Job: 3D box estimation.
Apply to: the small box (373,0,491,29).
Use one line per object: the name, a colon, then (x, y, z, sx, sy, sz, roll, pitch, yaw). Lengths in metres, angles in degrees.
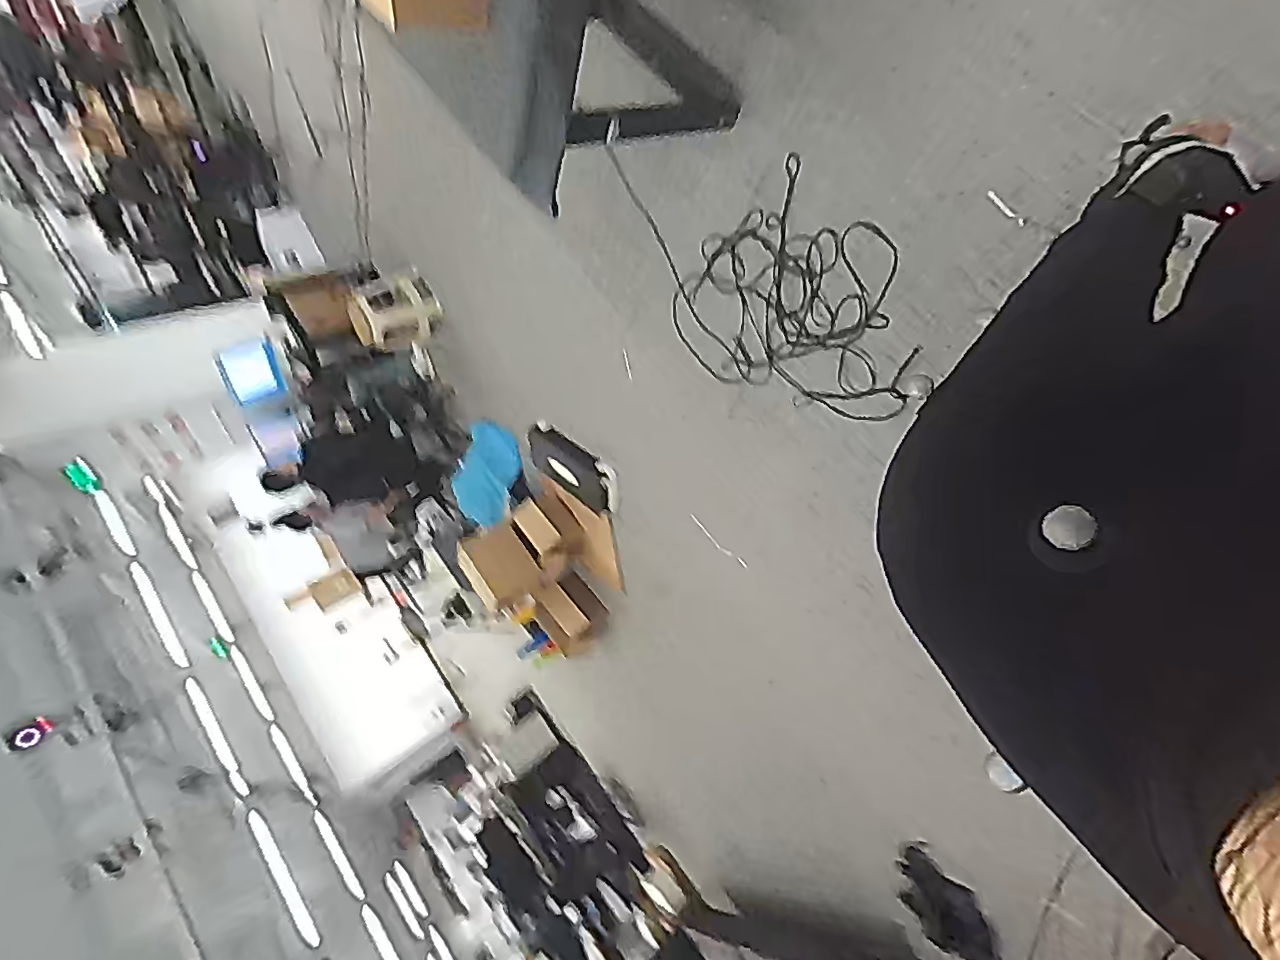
small box: (-0.343, -0.851, 0.849, 0.168, 0.176, 0.179, 51, 147, 18)
